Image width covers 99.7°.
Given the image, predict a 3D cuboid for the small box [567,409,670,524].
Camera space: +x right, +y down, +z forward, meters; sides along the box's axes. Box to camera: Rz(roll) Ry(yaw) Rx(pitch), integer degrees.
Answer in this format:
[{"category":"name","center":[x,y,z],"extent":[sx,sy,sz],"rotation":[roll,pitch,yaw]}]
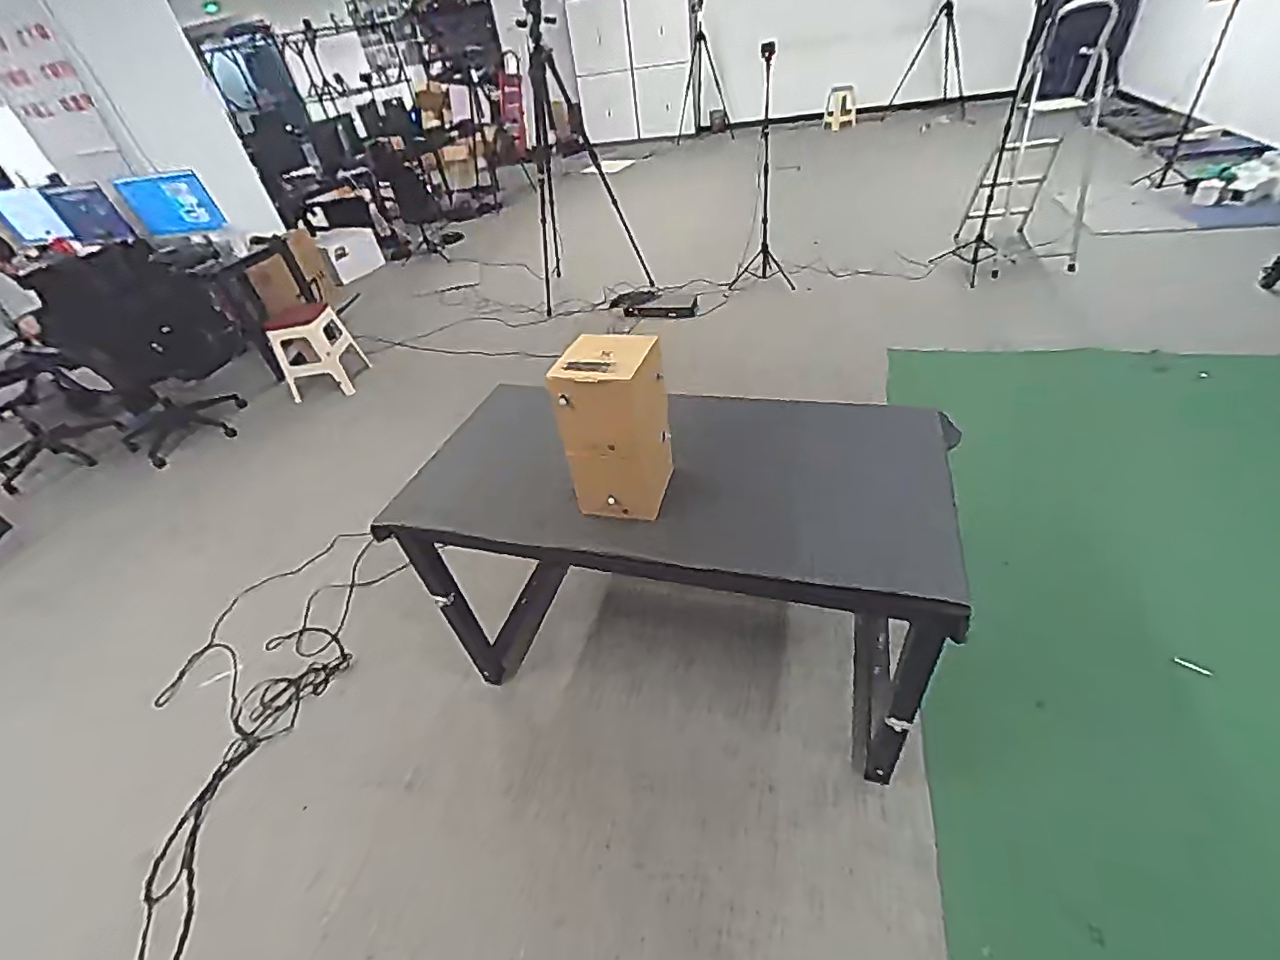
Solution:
[{"category":"small box","center":[-0.036,-0.032,1.152],"extent":[0.168,0.176,0.179],"rotation":[5,41,17]}]
